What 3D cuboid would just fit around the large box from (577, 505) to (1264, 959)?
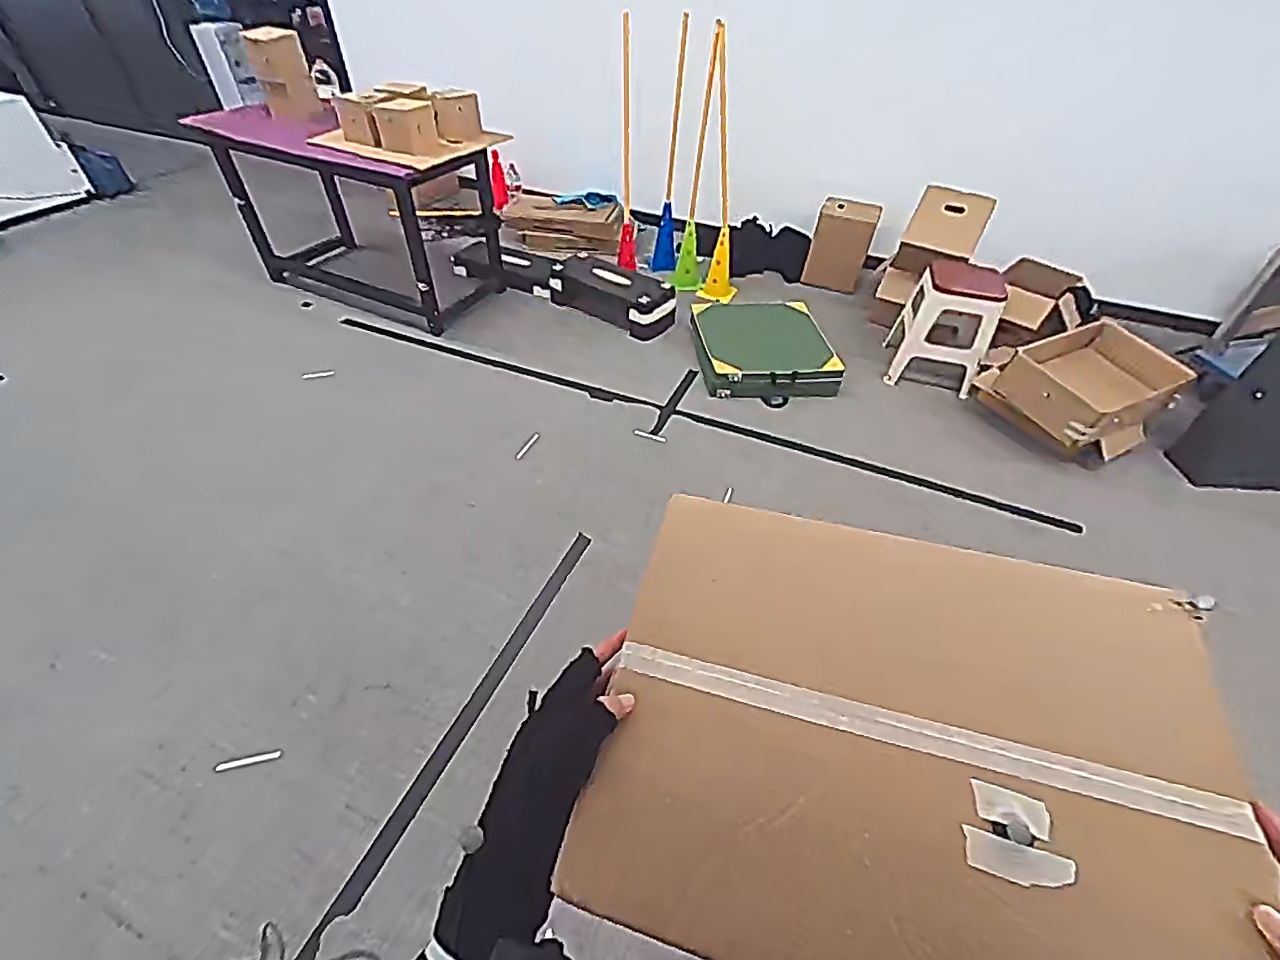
[{"bbox_3d":[0.197,0.263,0.513,0.408,0.320,0.320,11,57,14],"label":"large box"}]
